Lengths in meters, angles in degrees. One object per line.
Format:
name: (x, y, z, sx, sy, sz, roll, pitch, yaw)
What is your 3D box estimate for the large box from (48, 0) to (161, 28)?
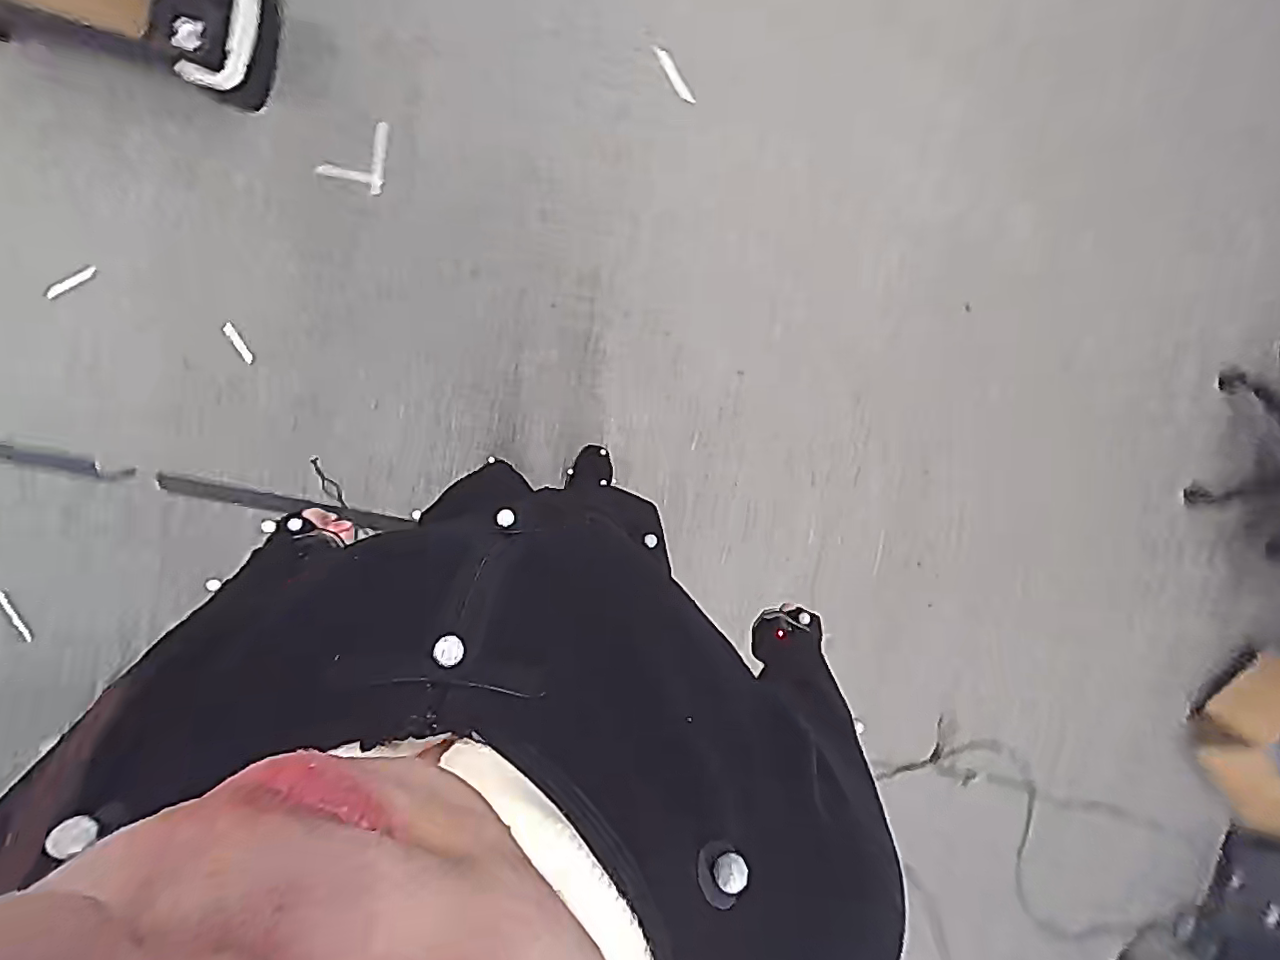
large box: (-1.140, -1.093, 0.934, 0.408, 0.320, 0.320, 13, 94, -6)

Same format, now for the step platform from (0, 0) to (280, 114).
step platform: (-1.197, -1.099, 1.168, 0.684, 0.204, 0.286, 18, 94, -6)
